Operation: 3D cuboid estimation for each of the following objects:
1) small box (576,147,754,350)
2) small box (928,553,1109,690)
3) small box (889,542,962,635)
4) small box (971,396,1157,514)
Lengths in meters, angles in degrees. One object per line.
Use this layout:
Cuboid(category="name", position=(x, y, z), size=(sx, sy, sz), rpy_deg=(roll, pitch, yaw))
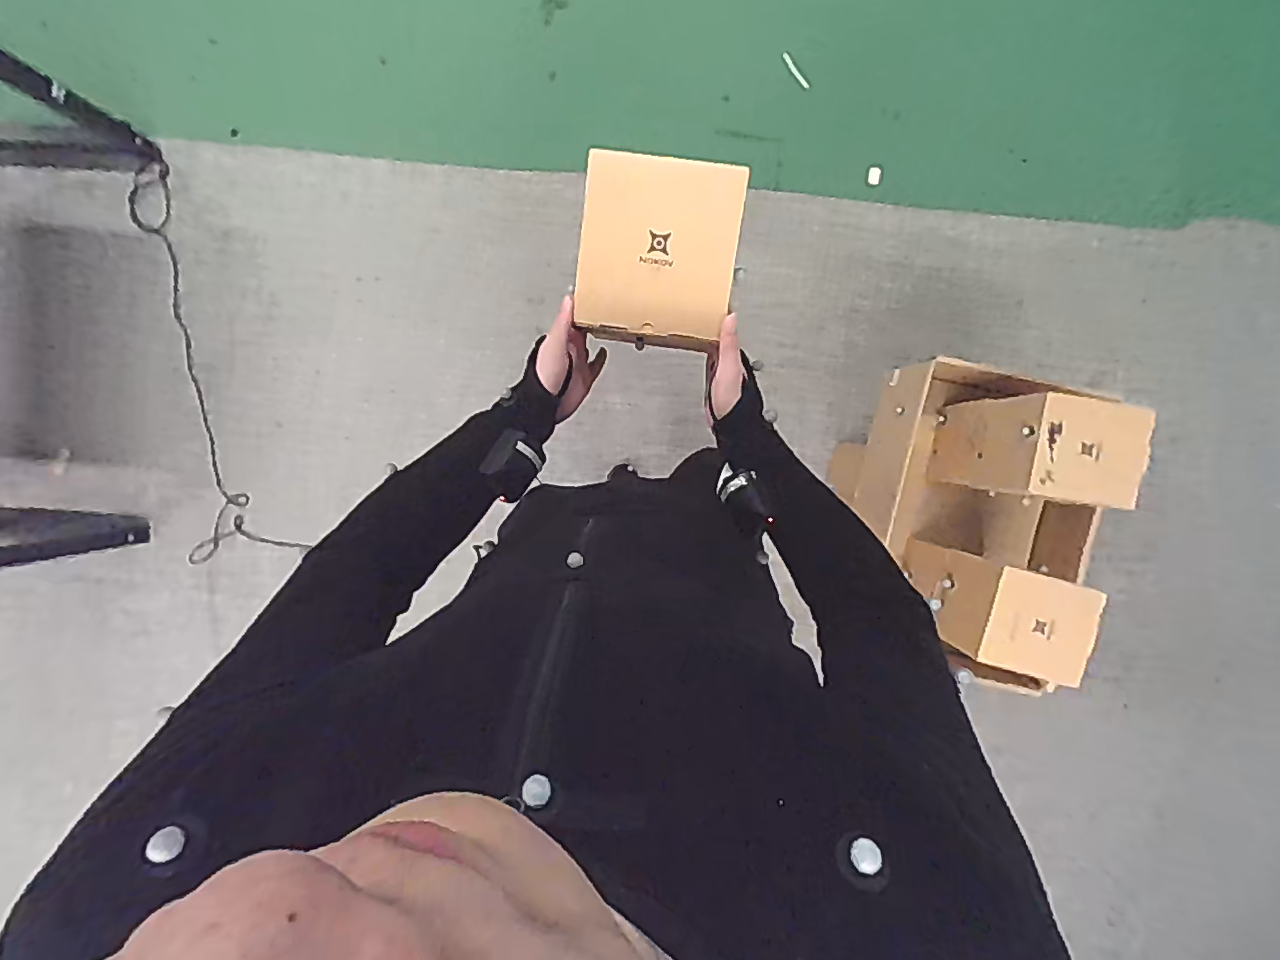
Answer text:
Cuboid(category="small box", position=(0.025, -0.253, 0.632), size=(0.168, 0.176, 0.179), rpy_deg=(7, 102, 1))
Cuboid(category="small box", position=(0.655, 0.239, 0.956), size=(0.179, 0.176, 0.168), rpy_deg=(16, 92, 0))
Cuboid(category="small box", position=(0.655, 0.236, 1.119), size=(0.179, 0.176, 0.168), rpy_deg=(17, 93, 0))
Cuboid(category="small box", position=(0.723, -0.044, 0.940), size=(0.179, 0.176, 0.168), rpy_deg=(10, 92, 0))
